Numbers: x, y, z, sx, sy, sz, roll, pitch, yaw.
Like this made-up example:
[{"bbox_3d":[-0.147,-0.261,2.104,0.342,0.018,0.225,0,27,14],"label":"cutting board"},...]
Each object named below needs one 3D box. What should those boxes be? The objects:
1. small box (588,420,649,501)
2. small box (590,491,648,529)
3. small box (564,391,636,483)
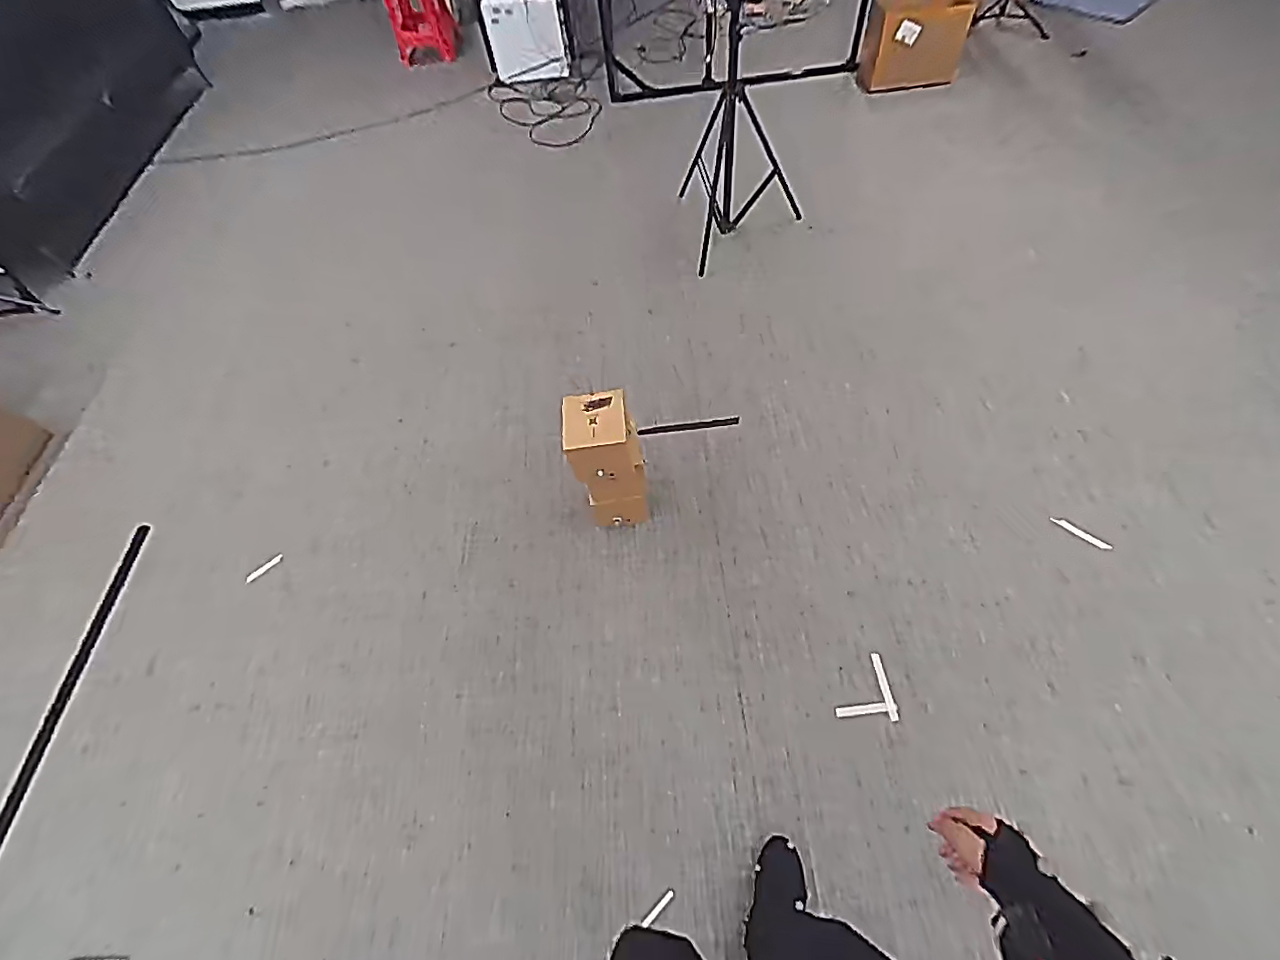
[{"bbox_3d":[-0.075,-0.052,1.617,0.179,0.176,0.168,-10,58,1],"label":"small box"},{"bbox_3d":[-0.070,0.037,1.756,0.168,0.176,0.179,-9,59,2],"label":"small box"},{"bbox_3d":[-0.107,-0.113,1.466,0.168,0.176,0.179,-8,59,4],"label":"small box"}]
